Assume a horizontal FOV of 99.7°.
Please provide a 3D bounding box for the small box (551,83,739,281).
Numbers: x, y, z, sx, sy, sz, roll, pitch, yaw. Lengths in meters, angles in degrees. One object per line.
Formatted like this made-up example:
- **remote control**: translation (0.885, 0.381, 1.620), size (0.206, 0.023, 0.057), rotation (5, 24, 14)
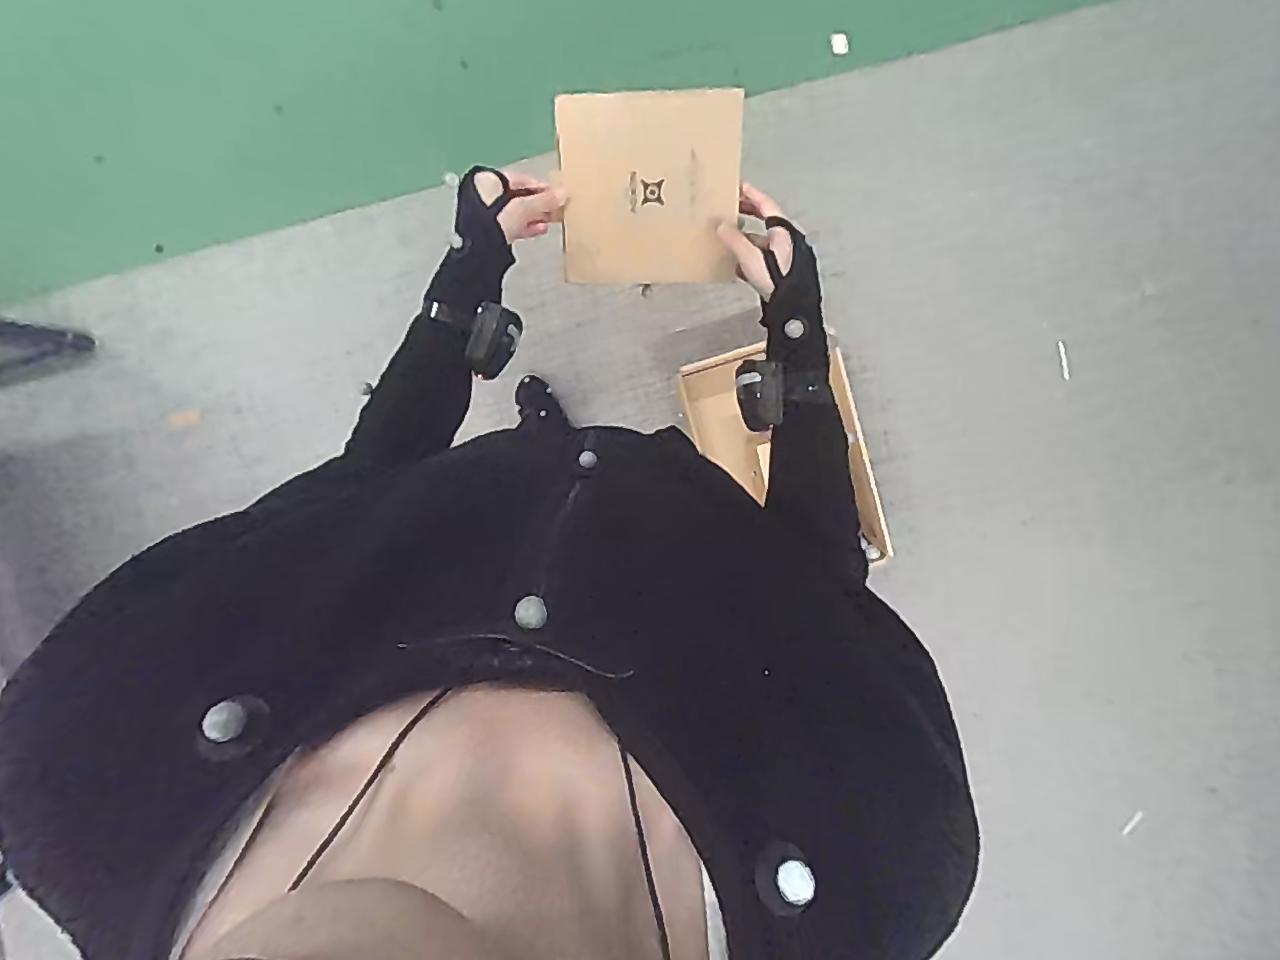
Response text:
- **small box**: translation (0.011, -0.308, 0.593), size (0.179, 0.176, 0.168), rotation (1, 110, 5)
